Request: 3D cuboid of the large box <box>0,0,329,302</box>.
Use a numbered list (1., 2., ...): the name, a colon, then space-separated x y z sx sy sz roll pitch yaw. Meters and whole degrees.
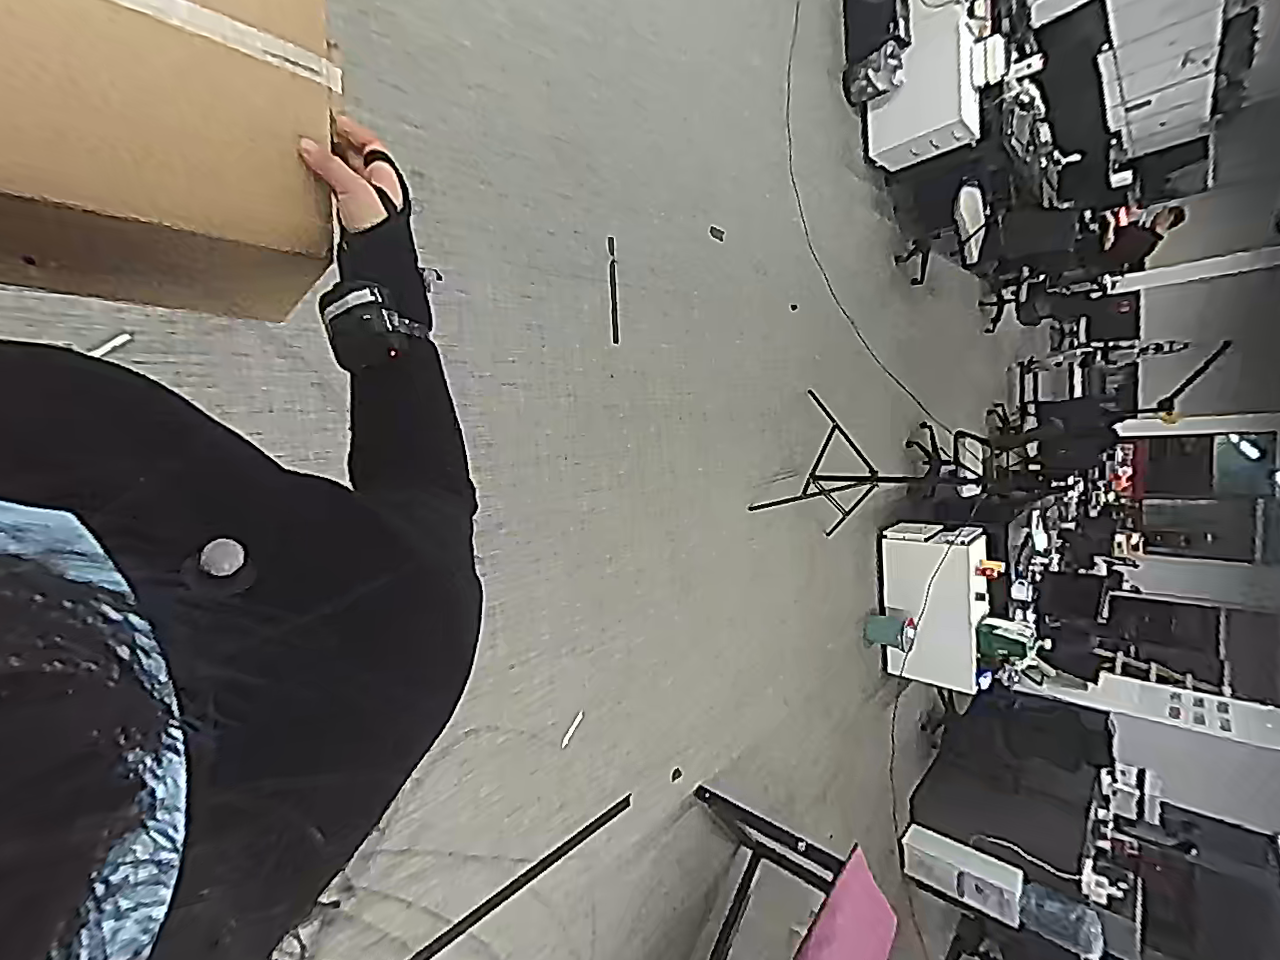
1. large box: -0.523 -0.360 0.457 0.408 0.320 0.320 -3 94 -40
